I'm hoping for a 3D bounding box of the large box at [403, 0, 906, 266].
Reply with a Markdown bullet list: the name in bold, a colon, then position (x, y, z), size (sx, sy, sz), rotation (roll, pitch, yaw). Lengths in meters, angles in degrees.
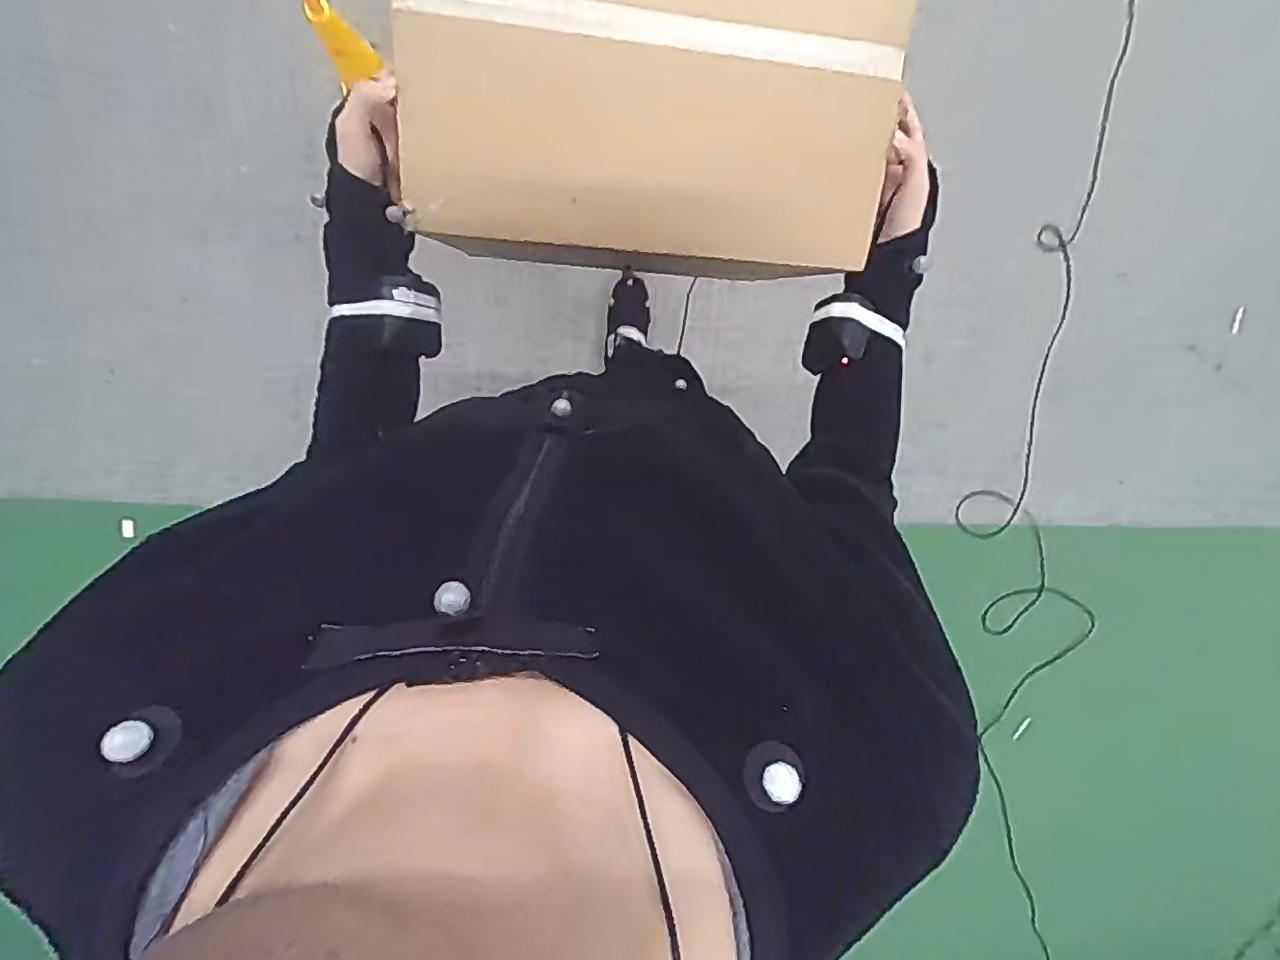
- **large box**: position (0.001, -0.402, 0.570), size (0.408, 0.320, 0.320), rotation (1, 109, -8)
